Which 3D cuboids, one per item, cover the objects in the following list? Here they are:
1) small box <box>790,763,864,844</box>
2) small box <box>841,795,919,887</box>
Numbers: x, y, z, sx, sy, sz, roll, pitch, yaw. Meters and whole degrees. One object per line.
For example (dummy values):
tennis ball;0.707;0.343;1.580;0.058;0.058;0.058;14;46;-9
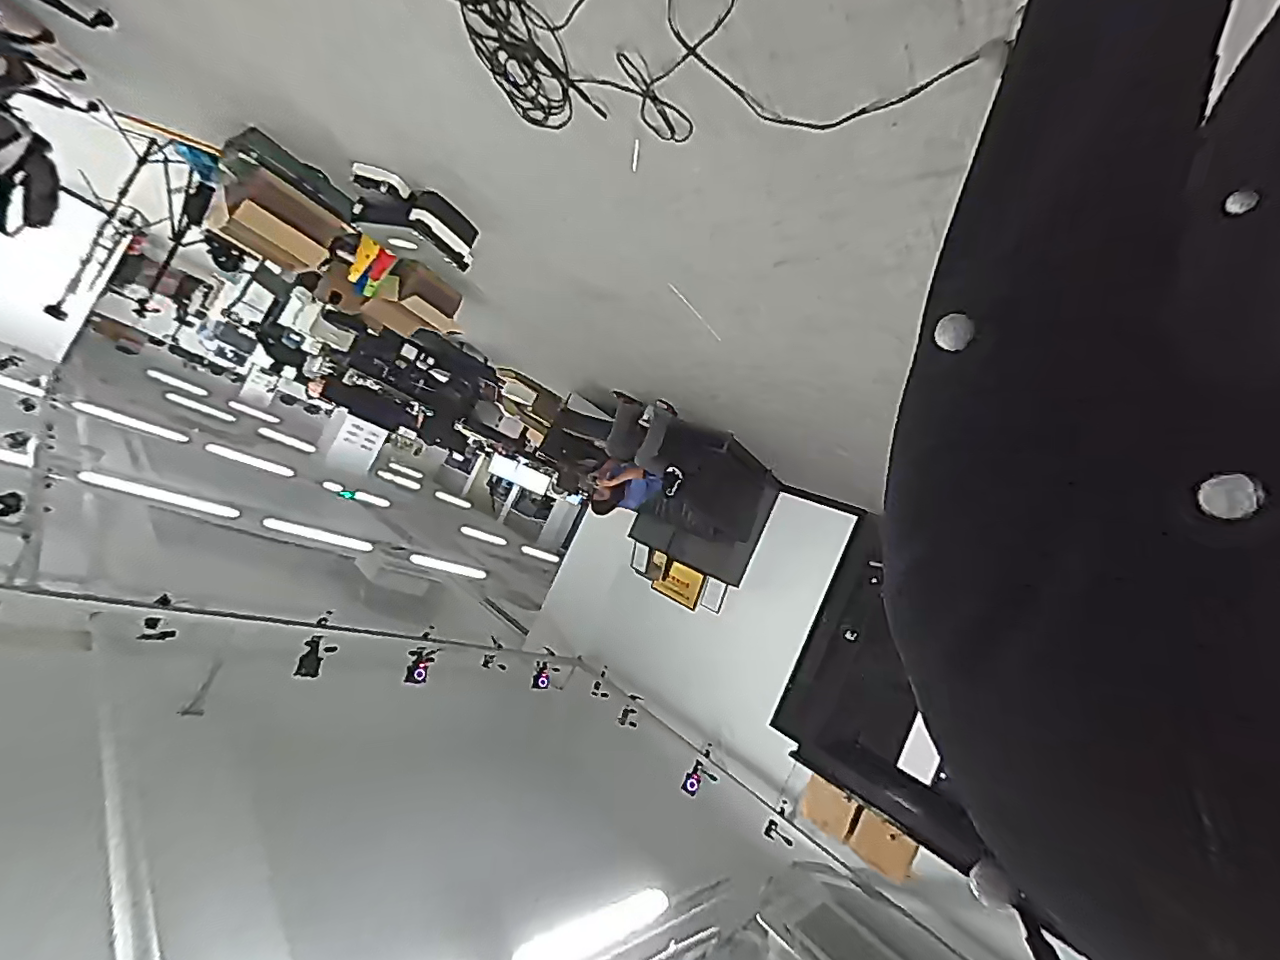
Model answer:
small box;0.646;1.101;1.856;0.168;0.176;0.179;21;175;38
small box;0.777;1.149;1.739;0.168;0.176;0.179;22;174;38
